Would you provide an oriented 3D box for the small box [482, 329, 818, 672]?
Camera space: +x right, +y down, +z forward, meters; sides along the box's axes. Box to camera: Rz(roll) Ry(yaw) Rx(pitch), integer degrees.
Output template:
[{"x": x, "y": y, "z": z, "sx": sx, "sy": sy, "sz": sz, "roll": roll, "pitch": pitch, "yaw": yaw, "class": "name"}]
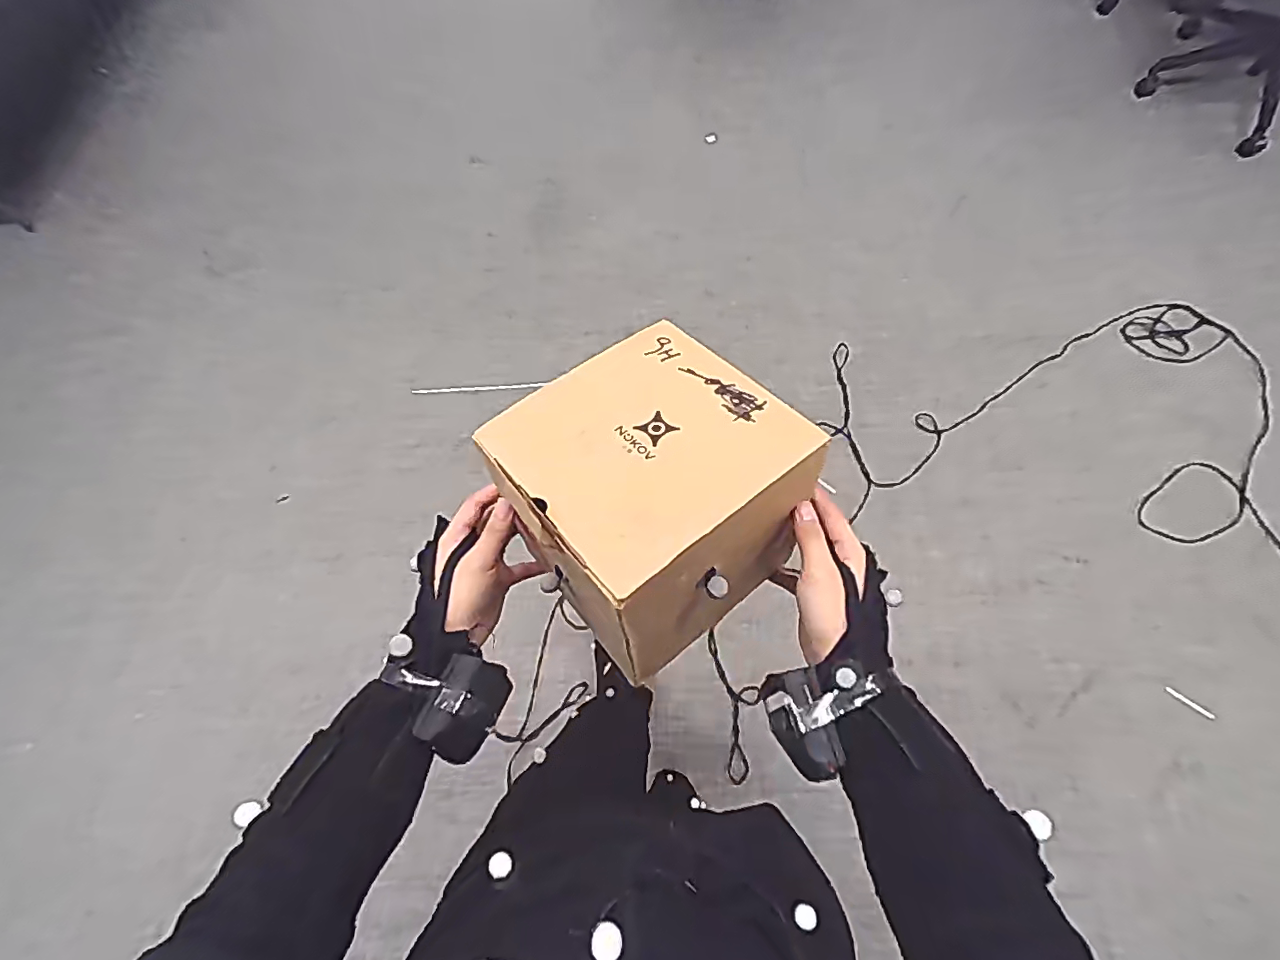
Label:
[{"x": 0.010, "y": 0.021, "z": 0.431, "sx": 0.179, "sy": 0.176, "sz": 0.168, "roll": -35, "pitch": 59, "yaw": -18, "class": "small box"}]
